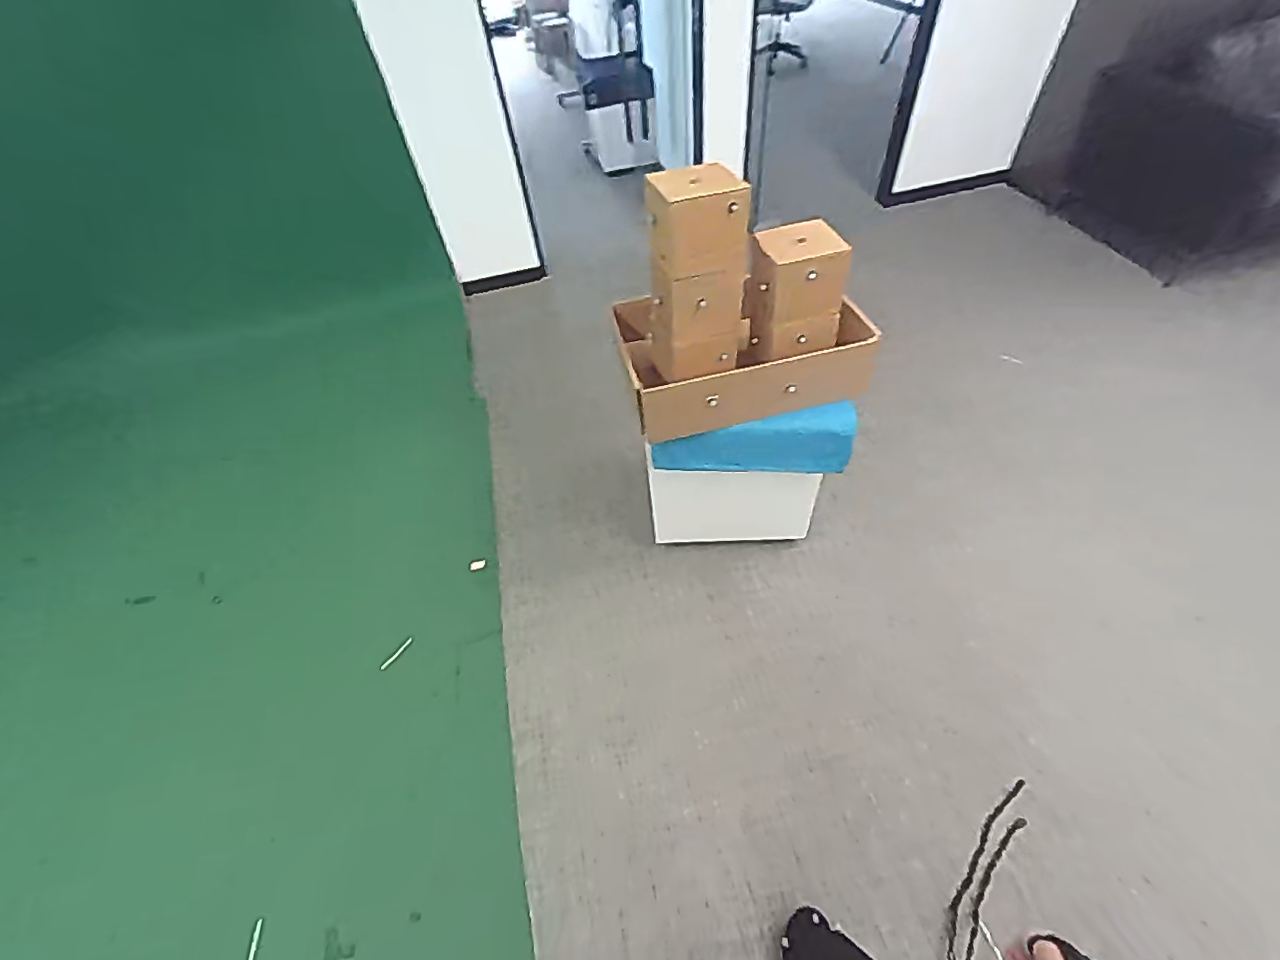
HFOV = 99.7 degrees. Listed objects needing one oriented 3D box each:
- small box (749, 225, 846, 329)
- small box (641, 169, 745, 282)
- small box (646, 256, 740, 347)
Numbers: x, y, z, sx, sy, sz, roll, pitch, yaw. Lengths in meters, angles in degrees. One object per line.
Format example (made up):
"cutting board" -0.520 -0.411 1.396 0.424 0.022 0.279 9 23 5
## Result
"small box" 0.372 -0.489 1.313 0.179 0.176 0.168 -13 48 -3
"small box" 0.114 -0.555 1.186 0.179 0.176 0.168 -16 49 -11
"small box" 0.127 -0.445 1.306 0.179 0.176 0.168 -16 49 -9
